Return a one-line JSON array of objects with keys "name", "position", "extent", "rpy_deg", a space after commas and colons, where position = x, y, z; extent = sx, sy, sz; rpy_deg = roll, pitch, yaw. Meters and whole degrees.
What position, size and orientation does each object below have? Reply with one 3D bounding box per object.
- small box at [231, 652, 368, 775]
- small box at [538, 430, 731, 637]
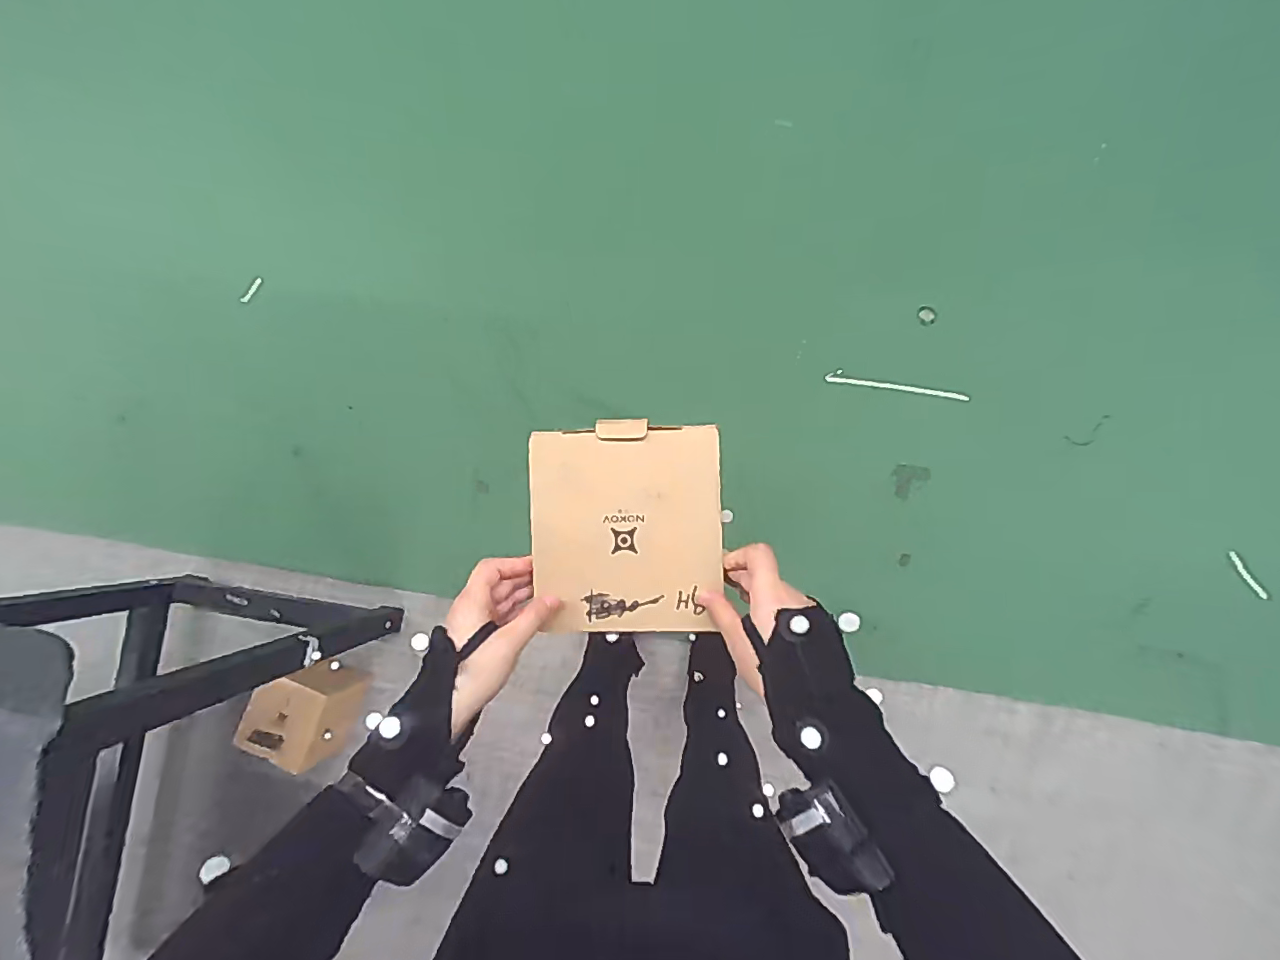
[{"name": "small box", "position": [-0.752, 0.513, 1.215], "extent": [0.168, 0.176, 0.179], "rpy_deg": [21, 87, 5]}, {"name": "small box", "position": [0.001, 0.046, 0.538], "extent": [0.168, 0.176, 0.179], "rpy_deg": [-1, 91, 5]}]
